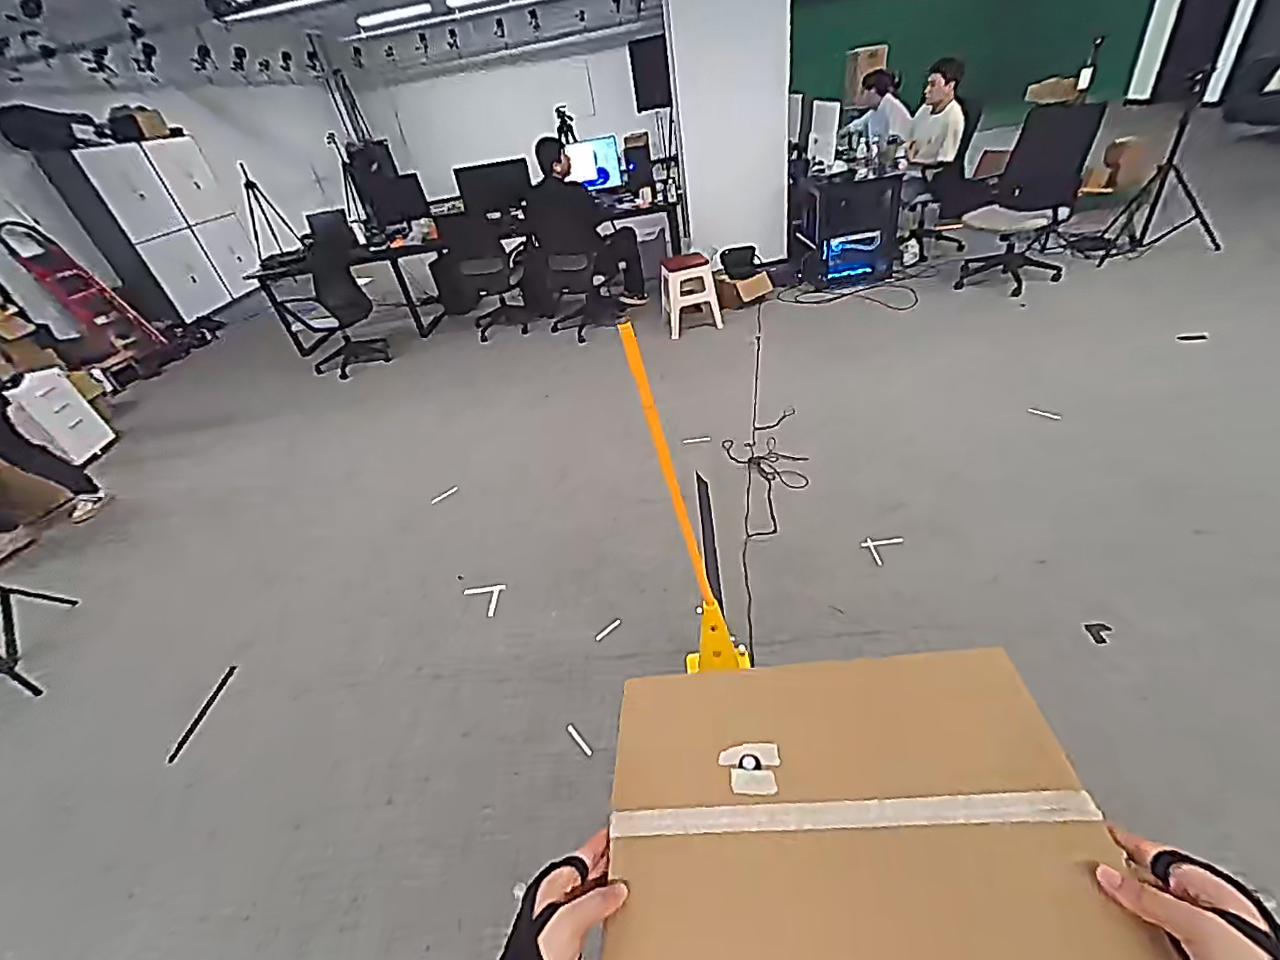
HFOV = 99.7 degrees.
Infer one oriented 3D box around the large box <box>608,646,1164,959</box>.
[{"bbox_3d":[0.208,0.416,0.569,0.408,0.320,0.320,-10,35,11],"label":"large box"}]
